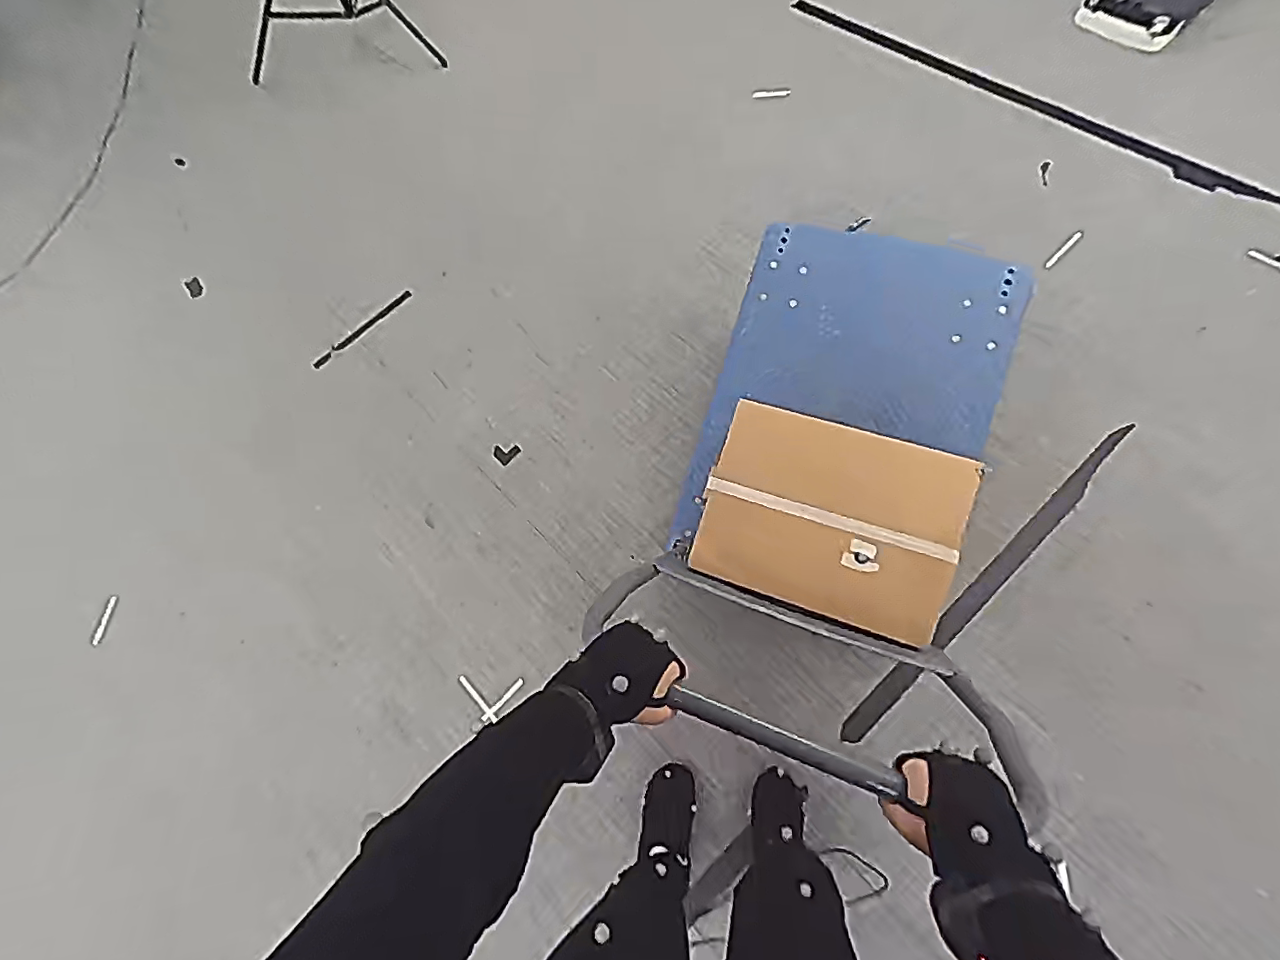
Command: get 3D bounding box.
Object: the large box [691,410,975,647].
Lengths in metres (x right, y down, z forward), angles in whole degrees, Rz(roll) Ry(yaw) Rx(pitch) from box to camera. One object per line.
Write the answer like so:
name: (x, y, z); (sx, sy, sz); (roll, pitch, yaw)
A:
large box: (0.347, 0.086, 1.061); (0.408, 0.320, 0.320); (17, 90, 14)
